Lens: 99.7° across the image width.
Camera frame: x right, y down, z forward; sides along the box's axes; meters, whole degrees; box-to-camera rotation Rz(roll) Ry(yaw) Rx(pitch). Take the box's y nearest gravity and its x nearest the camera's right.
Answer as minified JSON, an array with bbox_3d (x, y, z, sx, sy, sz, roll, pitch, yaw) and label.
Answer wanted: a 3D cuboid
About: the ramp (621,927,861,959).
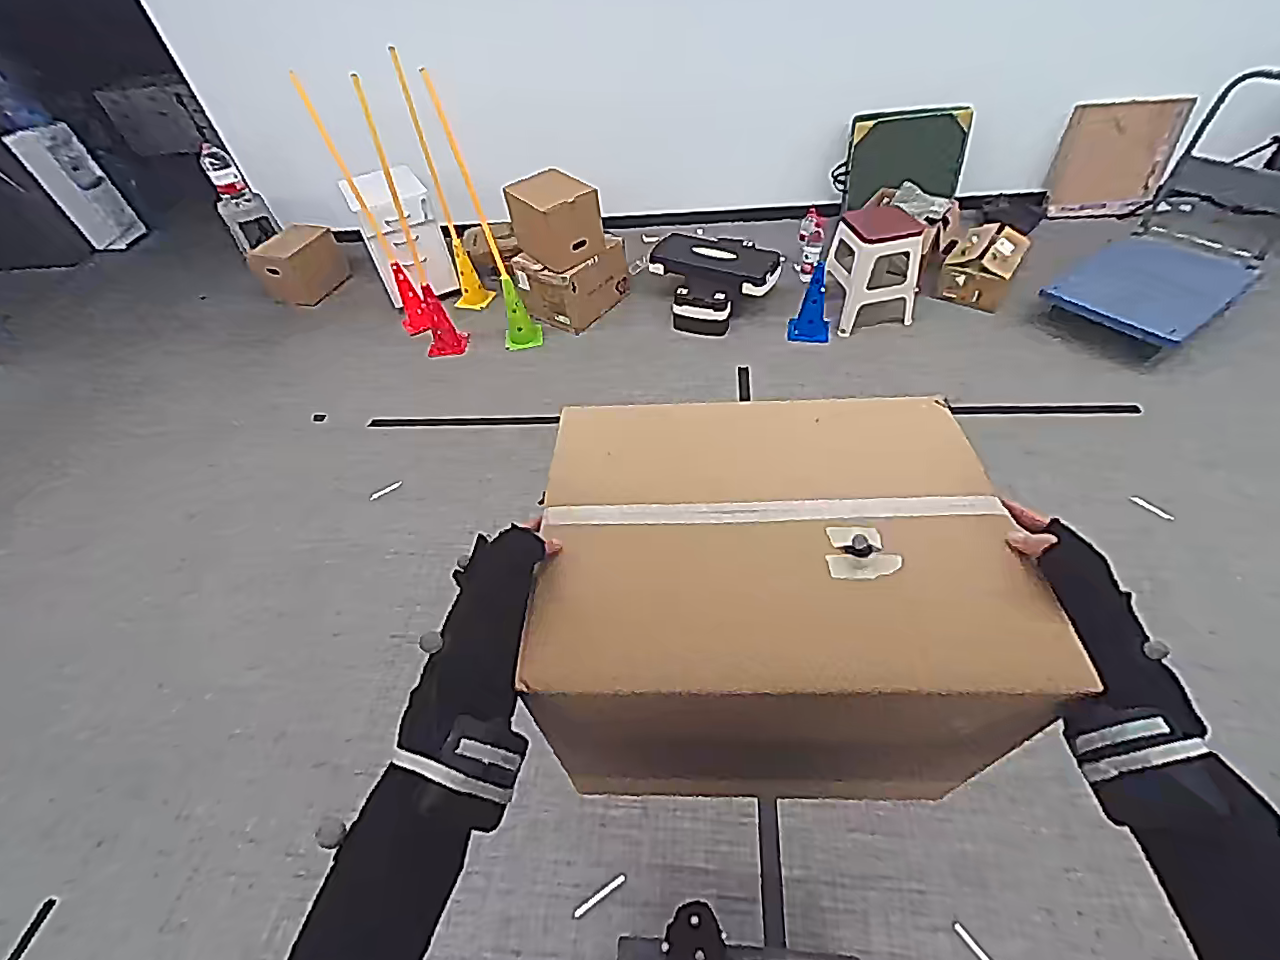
[{"bbox_3d":[0.184,1.371,0.869,0.509,0.206,0.991,-1,49,4],"label":"ramp"}]

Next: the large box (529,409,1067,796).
[{"bbox_3d":[0.120,0.142,0.605,0.408,0.320,0.320,-1,48,3],"label":"large box"}]
